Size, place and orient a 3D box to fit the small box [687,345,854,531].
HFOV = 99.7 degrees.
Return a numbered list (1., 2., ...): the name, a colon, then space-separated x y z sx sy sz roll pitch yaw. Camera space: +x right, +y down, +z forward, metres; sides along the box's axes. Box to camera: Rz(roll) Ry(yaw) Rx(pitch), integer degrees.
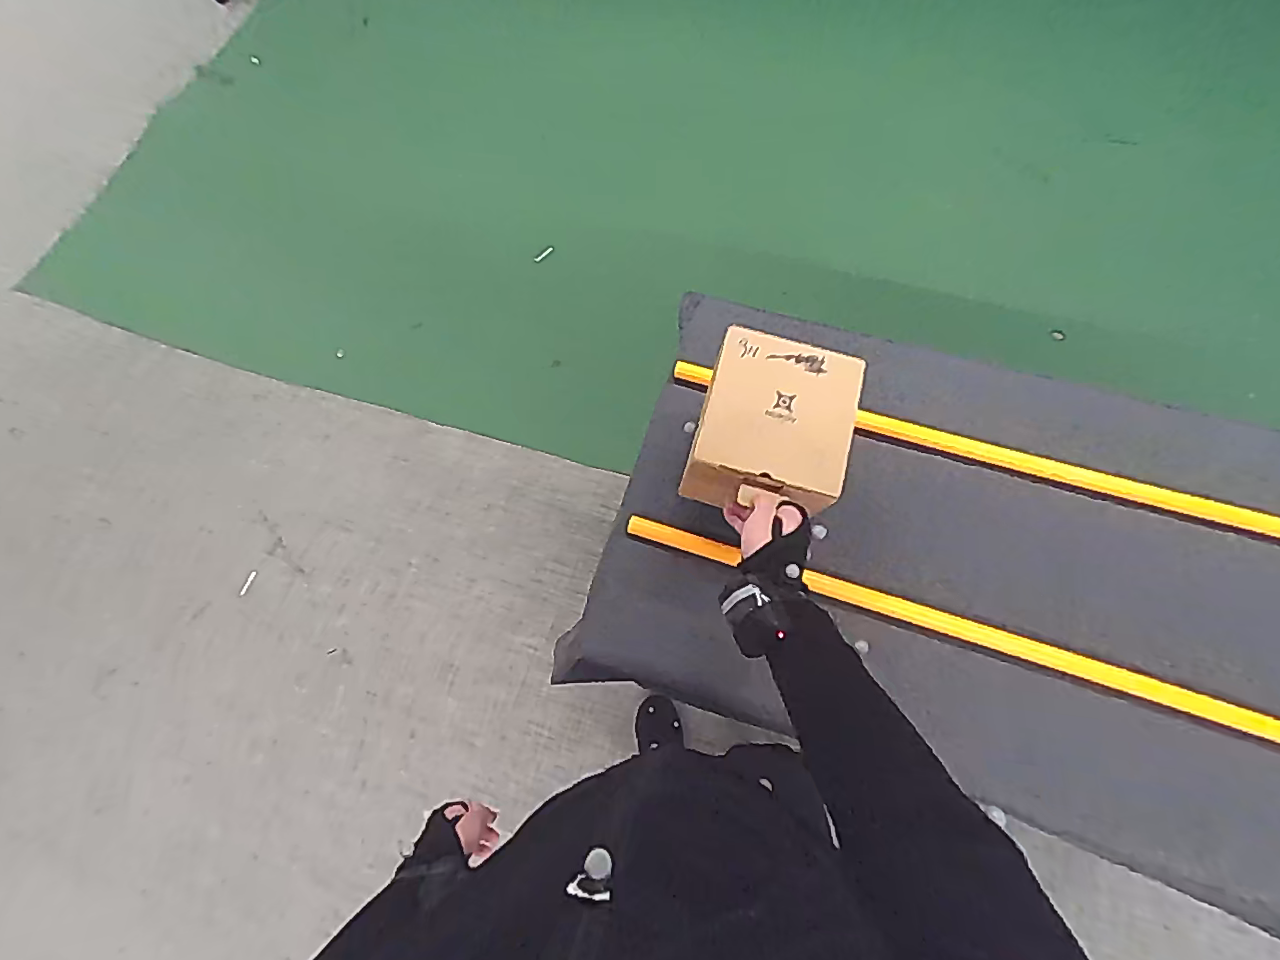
1. small box: 0.157 -0.044 0.698 0.168 0.176 0.179 12 73 4
